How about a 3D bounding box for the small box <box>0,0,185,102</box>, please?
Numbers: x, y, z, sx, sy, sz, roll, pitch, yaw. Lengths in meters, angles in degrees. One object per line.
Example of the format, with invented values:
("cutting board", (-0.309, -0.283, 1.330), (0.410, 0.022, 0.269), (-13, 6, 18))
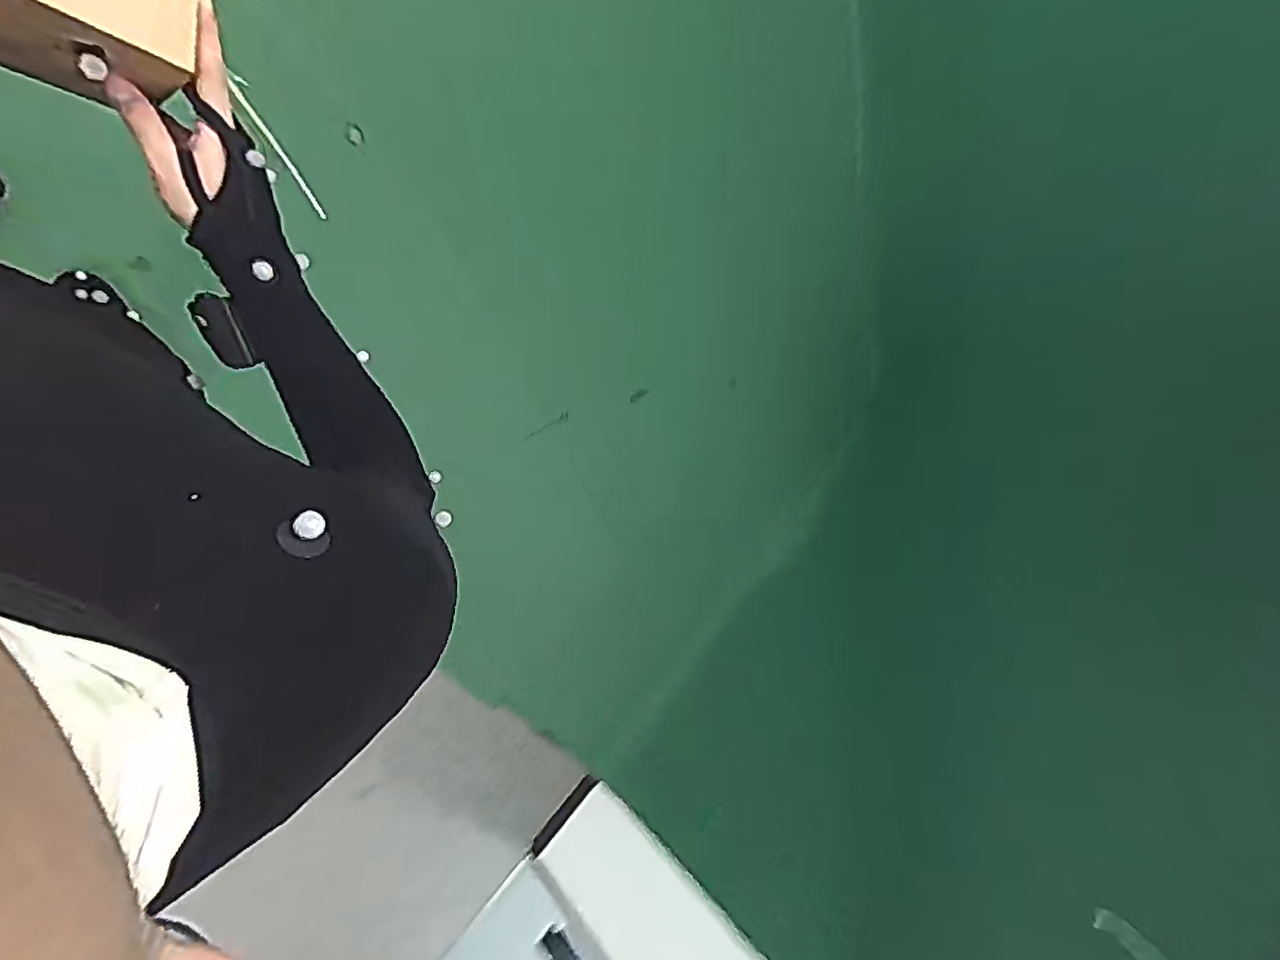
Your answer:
("small box", (-0.408, -0.367, 0.329), (0.179, 0.176, 0.168), (-2, 103, -50))
